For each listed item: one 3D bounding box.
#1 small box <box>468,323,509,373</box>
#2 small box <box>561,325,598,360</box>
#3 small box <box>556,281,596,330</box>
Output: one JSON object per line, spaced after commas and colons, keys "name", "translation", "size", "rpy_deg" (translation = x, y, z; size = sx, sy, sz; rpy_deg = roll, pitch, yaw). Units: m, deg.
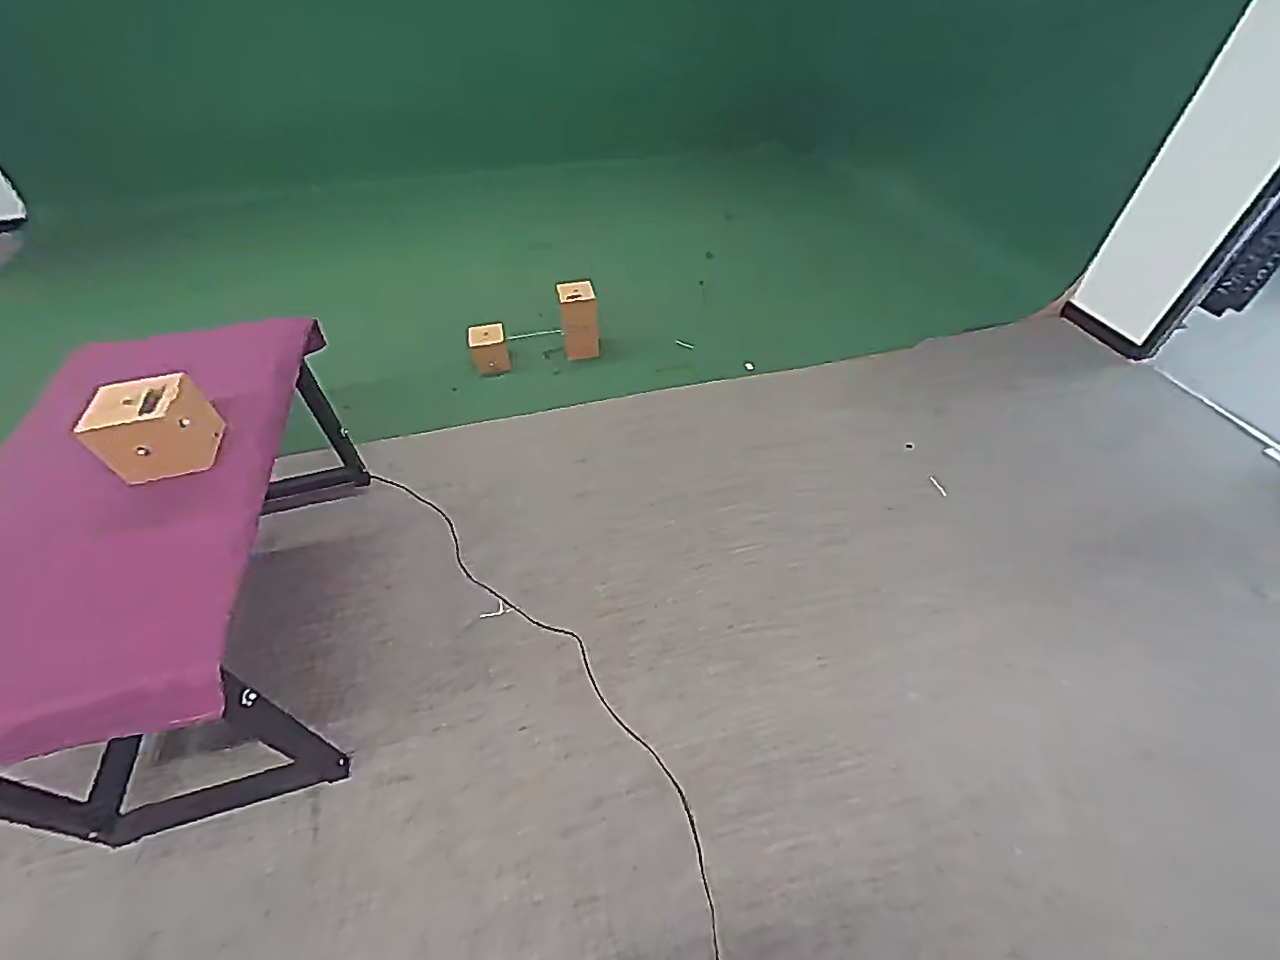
{"name": "small box", "translation": [-0.759, -0.661, 2.711], "size": [0.168, 0.176, 0.179], "rpy_deg": [-11, 48, -8]}
{"name": "small box", "translation": [-0.314, -0.743, 2.781], "size": [0.168, 0.176, 0.179], "rpy_deg": [-10, 49, -8]}
{"name": "small box", "translation": [-0.314, -0.852, 2.659], "size": [0.168, 0.176, 0.179], "rpy_deg": [-9, 48, -8]}
